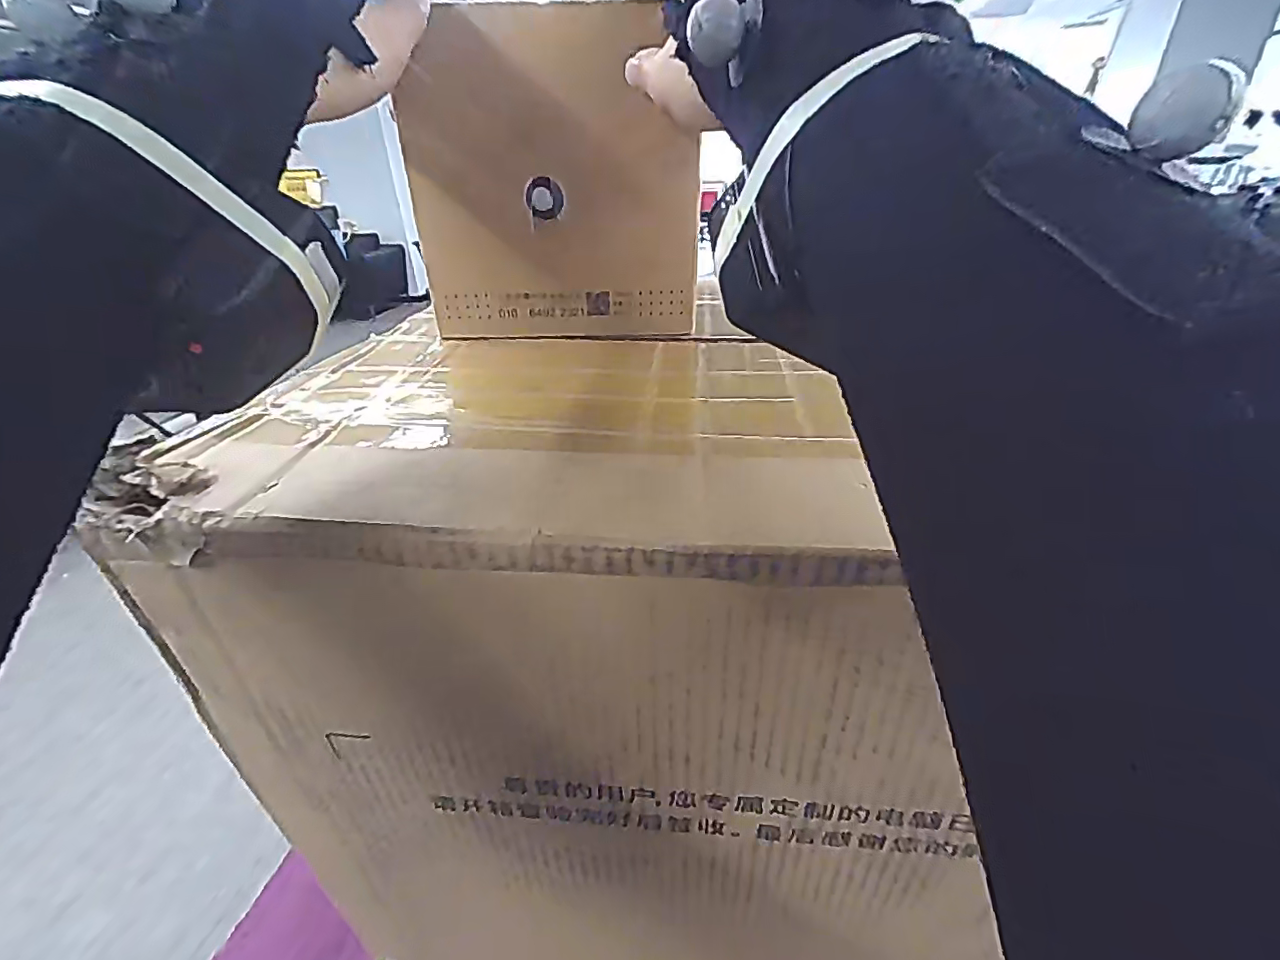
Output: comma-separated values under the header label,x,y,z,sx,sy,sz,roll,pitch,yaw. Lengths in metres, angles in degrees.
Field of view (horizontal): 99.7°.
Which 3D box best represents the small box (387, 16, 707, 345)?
label,x,y,z,sx,sy,sz,roll,pitch,yaw
small box,-0.045,-0.199,0.380,0.168,0.176,0.179,0,31,0
